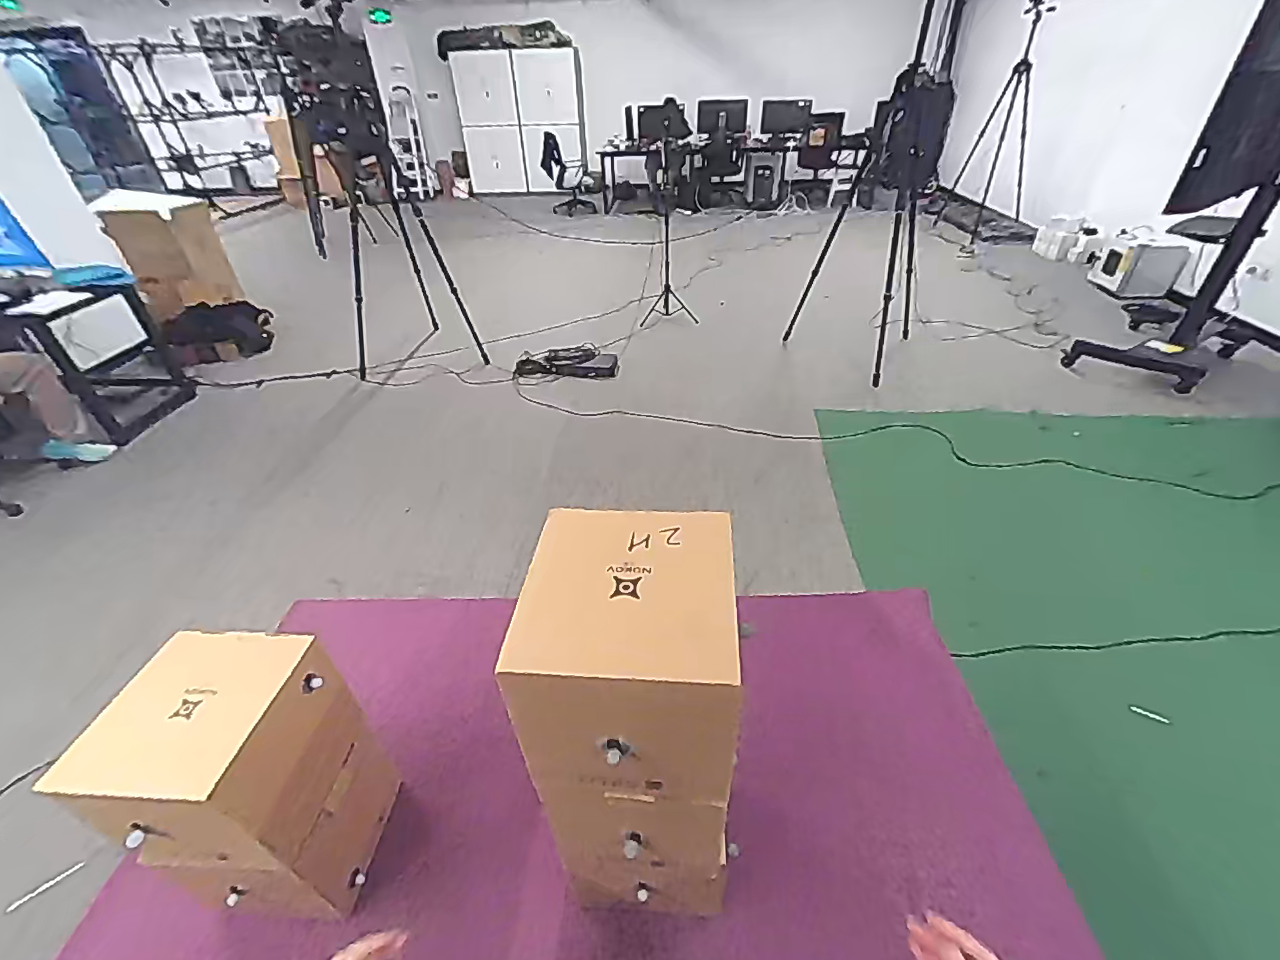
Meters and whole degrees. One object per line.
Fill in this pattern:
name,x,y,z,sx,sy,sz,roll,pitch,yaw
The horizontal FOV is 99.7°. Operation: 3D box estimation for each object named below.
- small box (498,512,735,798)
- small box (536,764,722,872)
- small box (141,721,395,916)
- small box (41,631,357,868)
small box,-0.004,0.148,0.472,0.168,0.176,0.179,2,36,6
small box,0.004,0.281,0.571,0.168,0.176,0.179,3,37,7
small box,-0.439,0.421,0.680,0.179,0.176,0.168,0,36,3
small box,-0.441,0.288,0.585,0.168,0.176,0.179,1,36,4
